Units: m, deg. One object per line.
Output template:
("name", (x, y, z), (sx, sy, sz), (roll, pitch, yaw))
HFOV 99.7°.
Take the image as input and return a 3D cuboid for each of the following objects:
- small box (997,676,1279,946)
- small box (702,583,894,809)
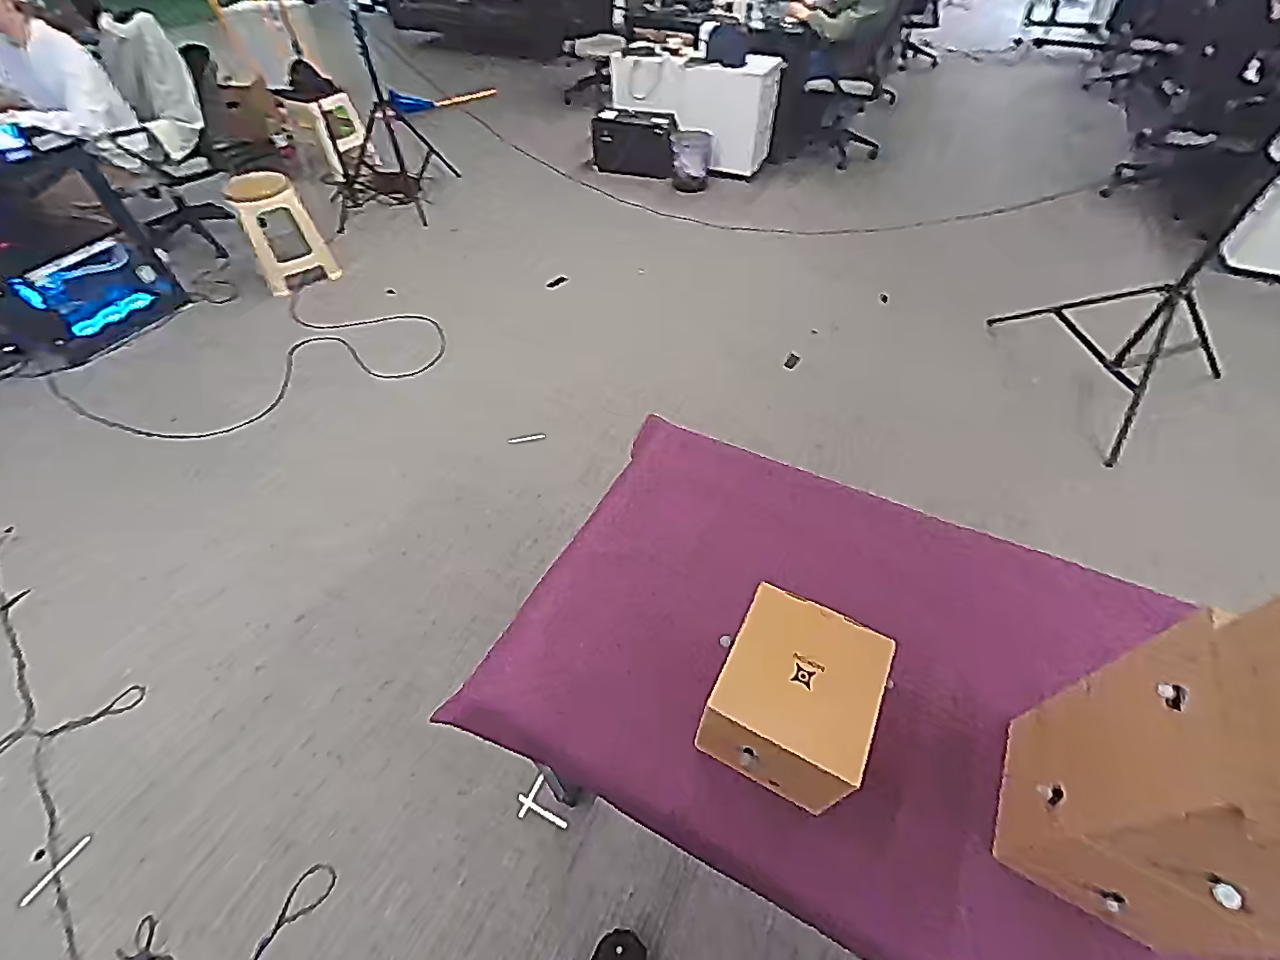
("small box", (0.518, 0.355, 0.583), (0.168, 0.176, 0.179), (24, 53, 19))
("small box", (0.183, 0.266, 0.662), (0.168, 0.176, 0.179), (22, 52, 18))
